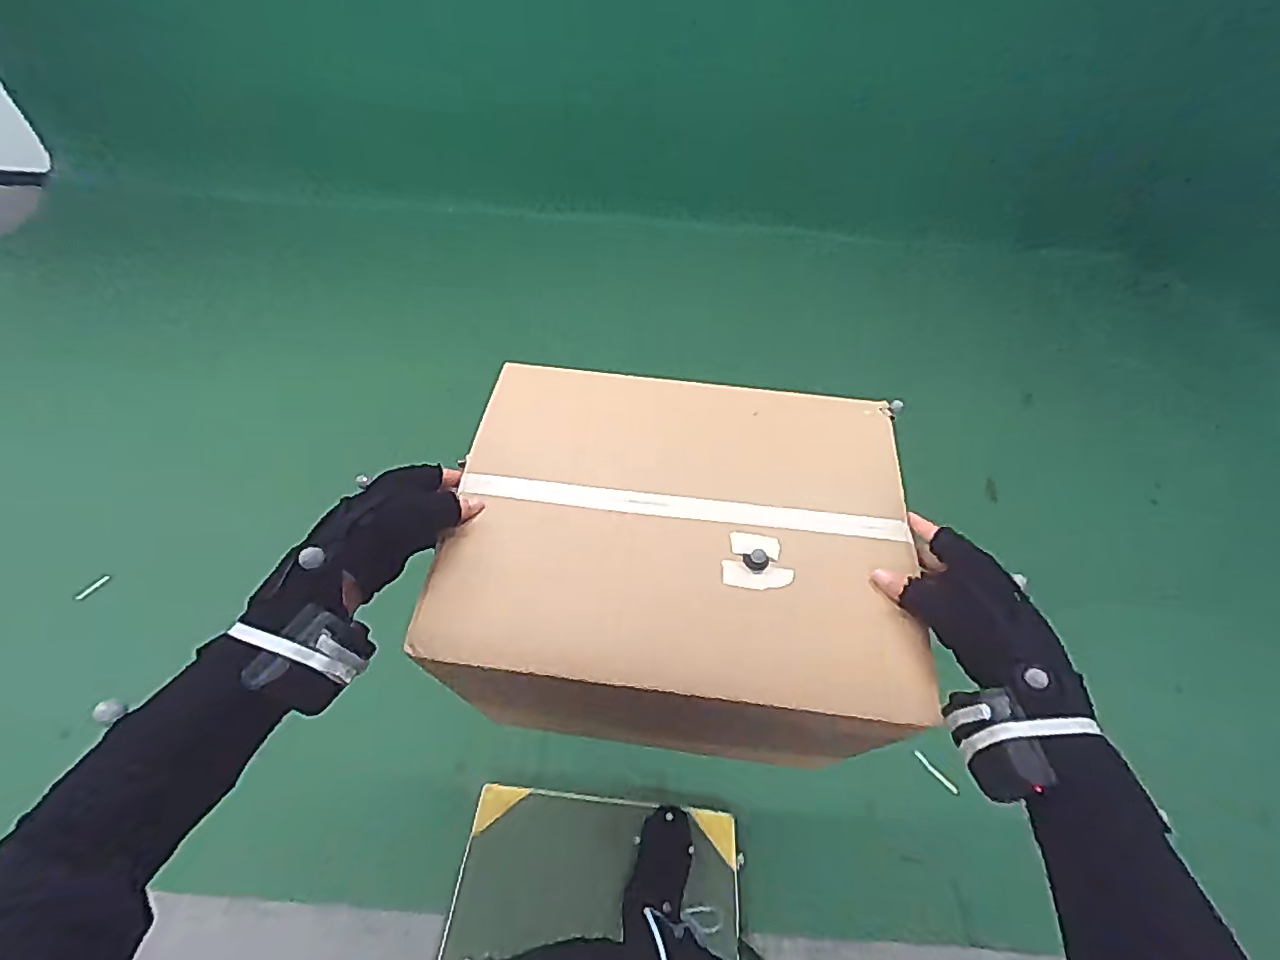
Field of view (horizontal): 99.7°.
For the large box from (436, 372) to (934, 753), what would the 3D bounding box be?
[{"bbox_3d":[0.041,0.108,0.627,0.408,0.320,0.320,7,58,2],"label":"large box"}]
